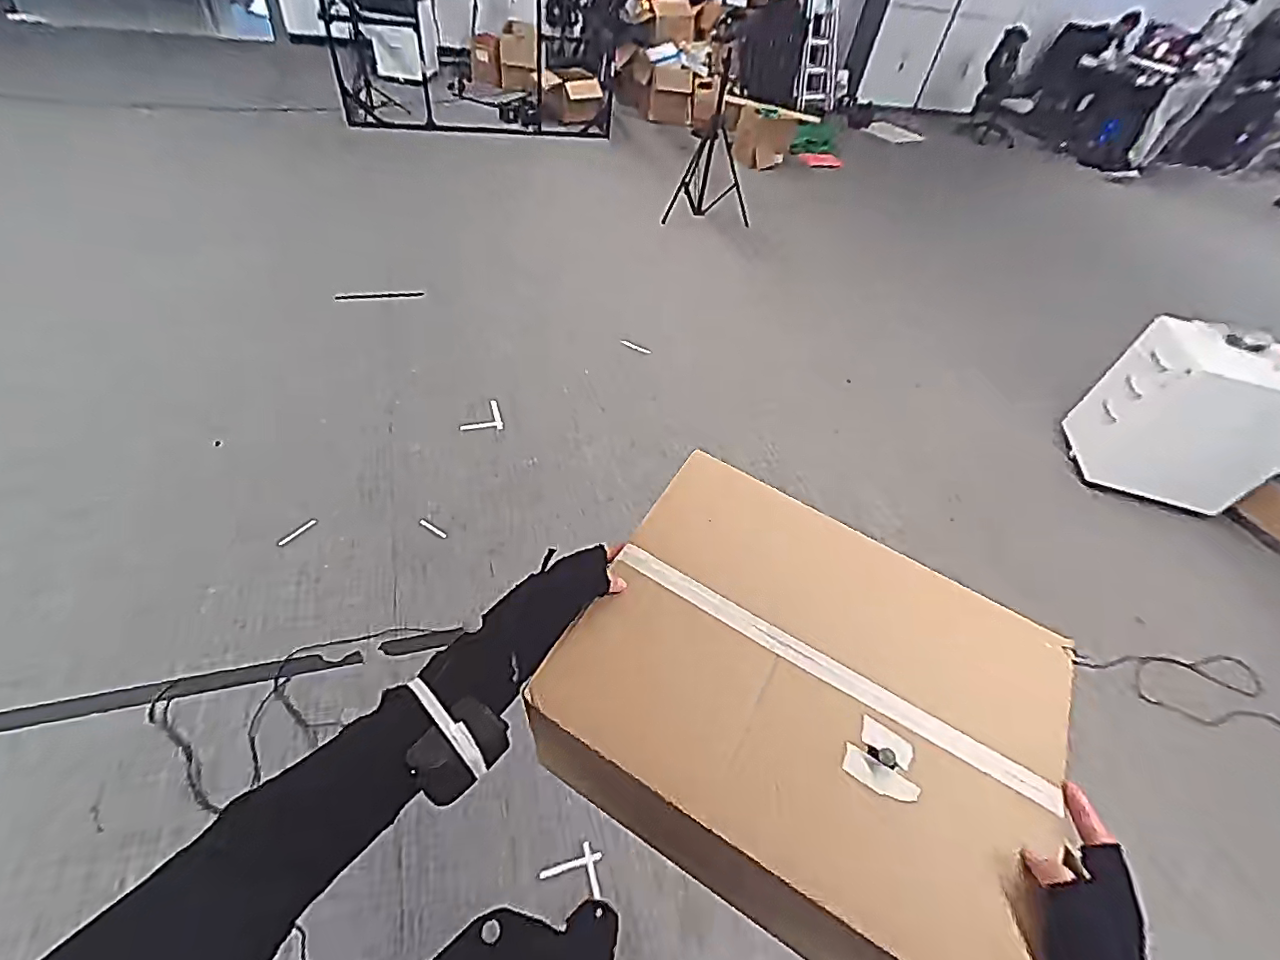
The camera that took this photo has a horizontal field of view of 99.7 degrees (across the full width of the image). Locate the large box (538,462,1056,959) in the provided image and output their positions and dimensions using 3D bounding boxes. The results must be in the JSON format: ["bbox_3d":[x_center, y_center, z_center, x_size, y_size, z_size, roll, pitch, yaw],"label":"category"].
[{"bbox_3d":[0.139,0.255,0.601,0.408,0.320,0.320,29,56,13],"label":"large box"}]
